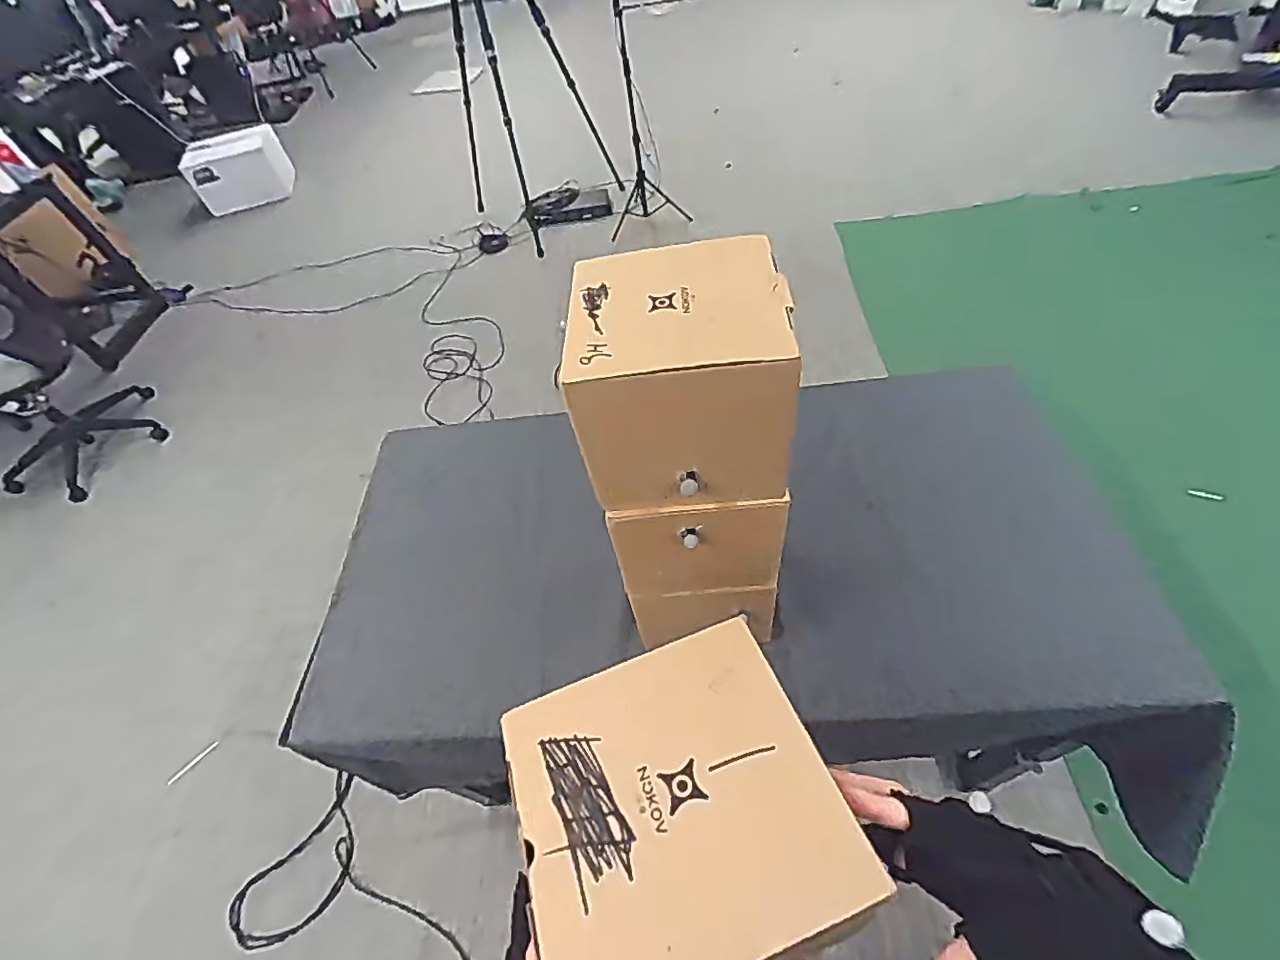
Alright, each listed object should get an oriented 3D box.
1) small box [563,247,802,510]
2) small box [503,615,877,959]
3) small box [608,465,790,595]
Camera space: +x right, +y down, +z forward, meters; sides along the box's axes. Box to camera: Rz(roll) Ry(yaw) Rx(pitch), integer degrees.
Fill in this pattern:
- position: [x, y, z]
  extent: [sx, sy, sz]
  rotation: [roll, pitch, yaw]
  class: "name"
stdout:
- position: [0.039, -0.087, 0.499]
  extent: [0.179, 0.176, 0.168]
  rotation: [-4, 51, 6]
  class: "small box"
- position: [0.028, 0.229, 0.366]
  extent: [0.179, 0.176, 0.168]
  rotation: [-20, 45, -7]
  class: "small box"
- position: [0.064, 0.019, 0.623]
  extent: [0.179, 0.176, 0.168]
  rotation: [-6, 51, 5]
  class: "small box"
